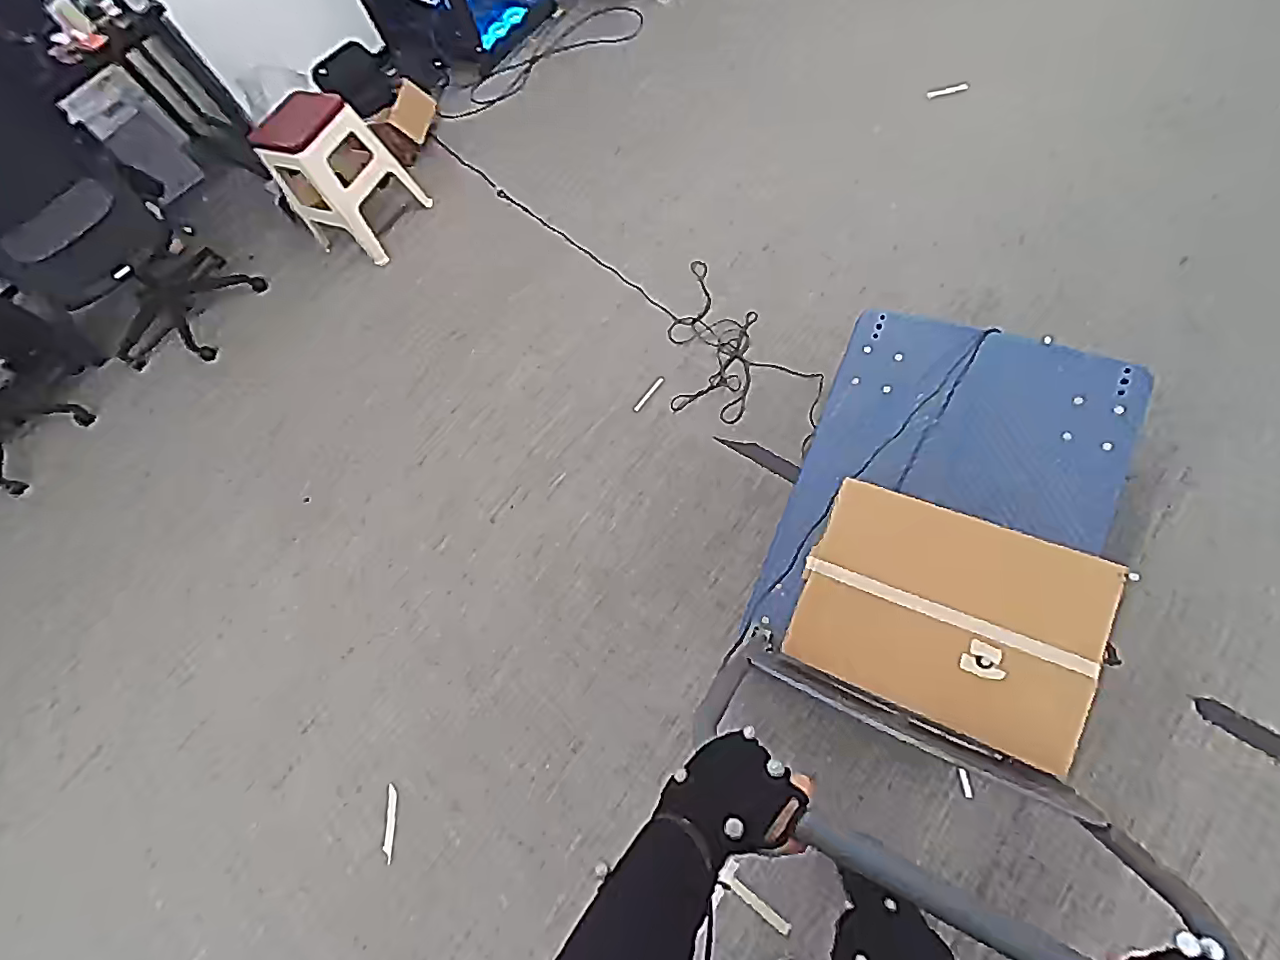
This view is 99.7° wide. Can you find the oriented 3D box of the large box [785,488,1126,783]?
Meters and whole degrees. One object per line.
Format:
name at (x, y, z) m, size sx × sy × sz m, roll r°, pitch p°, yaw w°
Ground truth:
large box at (0.498, 0.245, 0.955) m, size 0.408 × 0.320 × 0.320 m, roll 21°, pitch 84°, yaw 19°
